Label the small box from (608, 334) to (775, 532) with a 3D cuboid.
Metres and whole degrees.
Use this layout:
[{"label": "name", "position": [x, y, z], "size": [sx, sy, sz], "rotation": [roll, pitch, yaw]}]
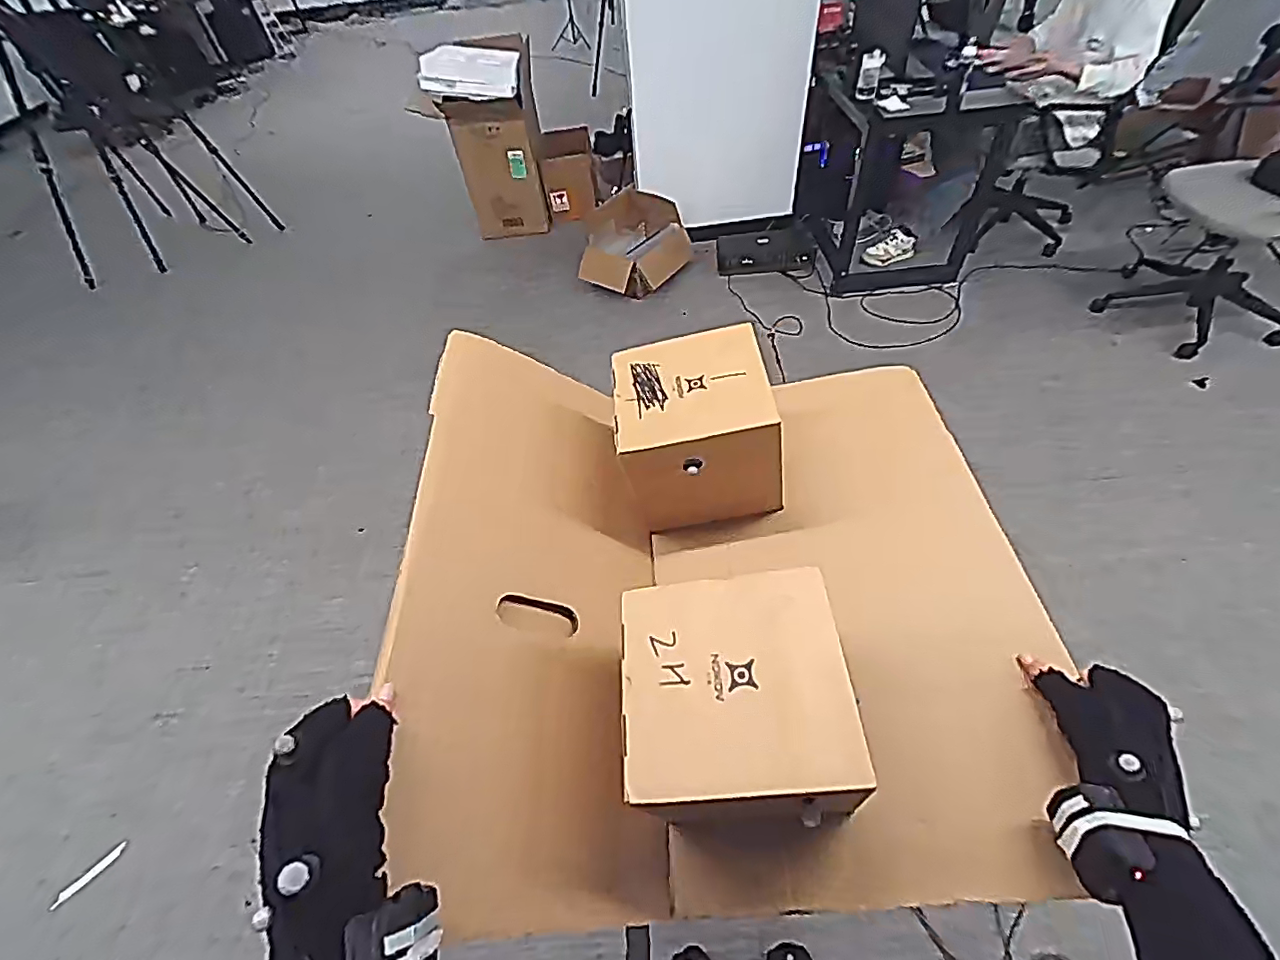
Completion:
[{"label": "small box", "position": [0.067, -0.051, 0.684], "size": [0.179, 0.176, 0.168], "rotation": [-11, 53, 7]}]
